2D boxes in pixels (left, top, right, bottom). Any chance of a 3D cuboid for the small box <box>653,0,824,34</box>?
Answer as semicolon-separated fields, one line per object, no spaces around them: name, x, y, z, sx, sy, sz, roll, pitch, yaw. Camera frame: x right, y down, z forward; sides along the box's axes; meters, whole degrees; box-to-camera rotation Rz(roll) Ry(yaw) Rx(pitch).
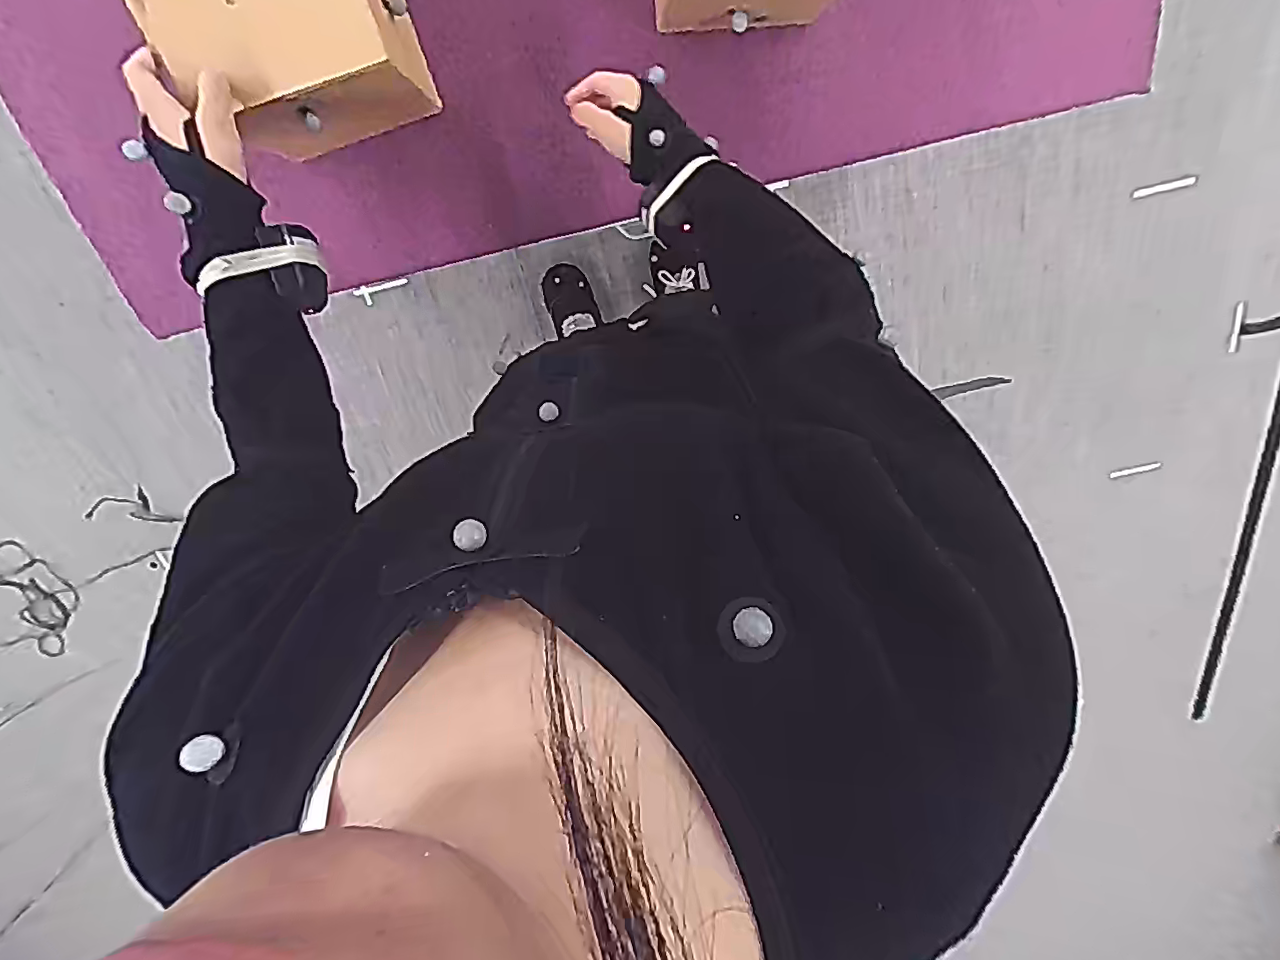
small box;0.095;-0.525;0.465;0.168;0.176;0.179;-4;114;-2

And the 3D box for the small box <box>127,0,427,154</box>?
small box;-0.314;-0.418;0.485;0.179;0.176;0.168;-17;113;4
